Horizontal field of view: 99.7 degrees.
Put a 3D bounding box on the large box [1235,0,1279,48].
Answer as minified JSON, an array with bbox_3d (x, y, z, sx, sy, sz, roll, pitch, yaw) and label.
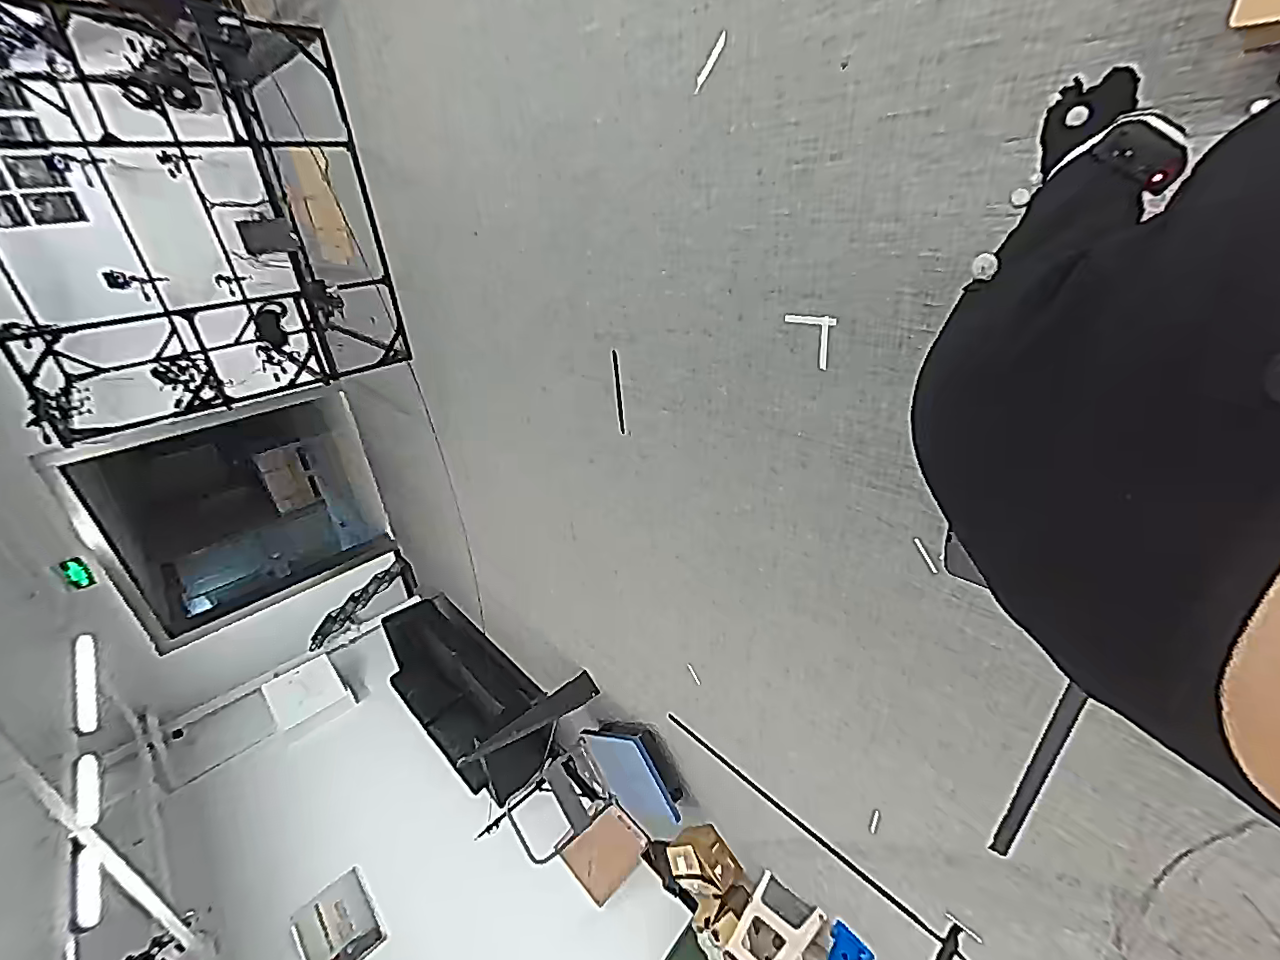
[{"bbox_3d":[1.008,-0.728,0.598,0.408,0.320,0.320,23,129,40],"label":"large box"}]
